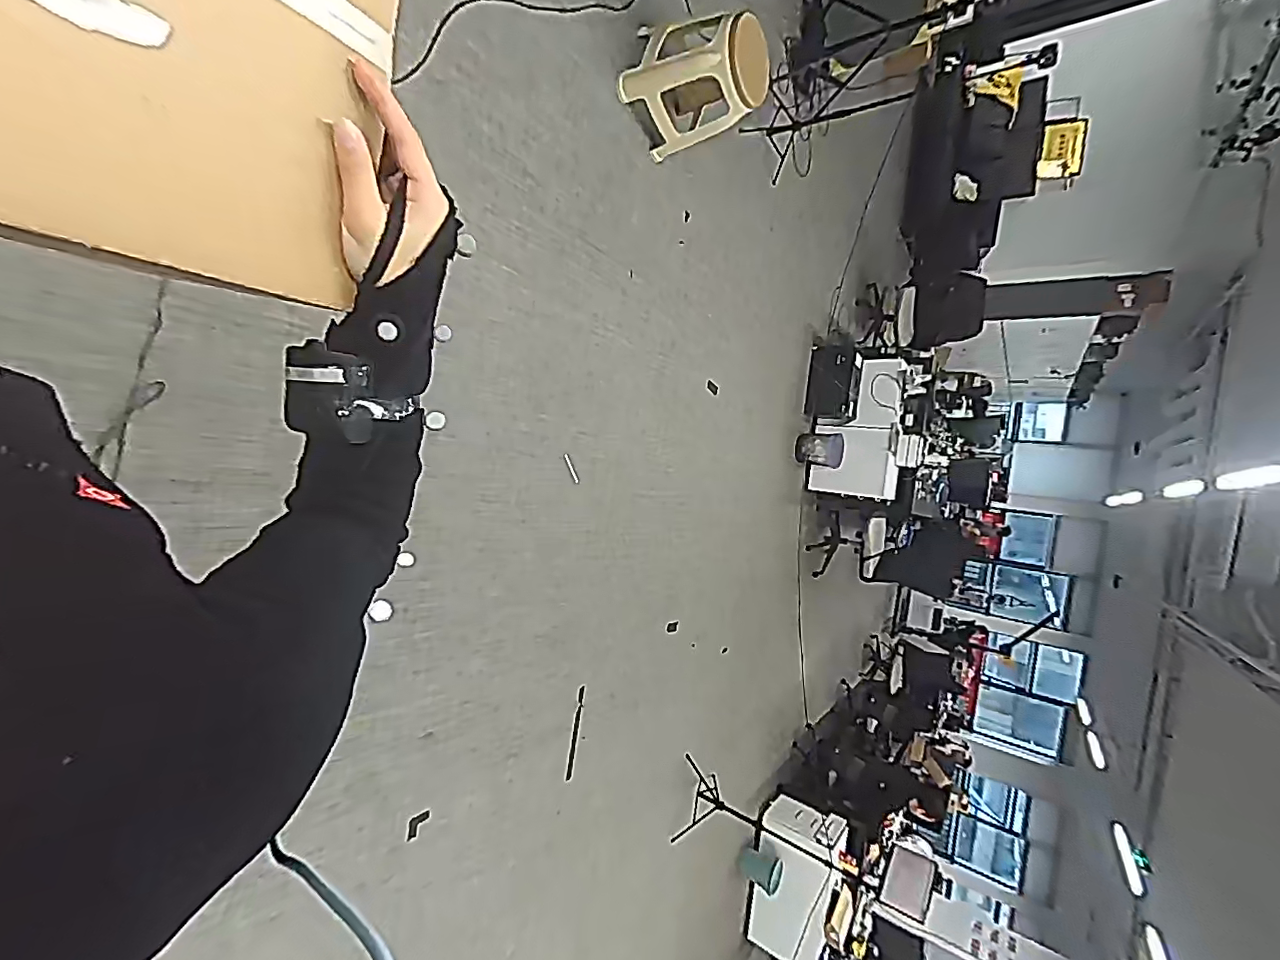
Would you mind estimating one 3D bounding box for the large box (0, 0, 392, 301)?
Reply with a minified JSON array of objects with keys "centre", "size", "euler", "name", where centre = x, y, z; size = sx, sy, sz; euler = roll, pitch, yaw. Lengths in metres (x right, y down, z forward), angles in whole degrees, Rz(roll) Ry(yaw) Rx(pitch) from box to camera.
[{"centre":[-0.395,-0.301,0.256],"size":[0.408,0.320,0.320],"euler":[-1,107,-58],"name":"large box"}]
